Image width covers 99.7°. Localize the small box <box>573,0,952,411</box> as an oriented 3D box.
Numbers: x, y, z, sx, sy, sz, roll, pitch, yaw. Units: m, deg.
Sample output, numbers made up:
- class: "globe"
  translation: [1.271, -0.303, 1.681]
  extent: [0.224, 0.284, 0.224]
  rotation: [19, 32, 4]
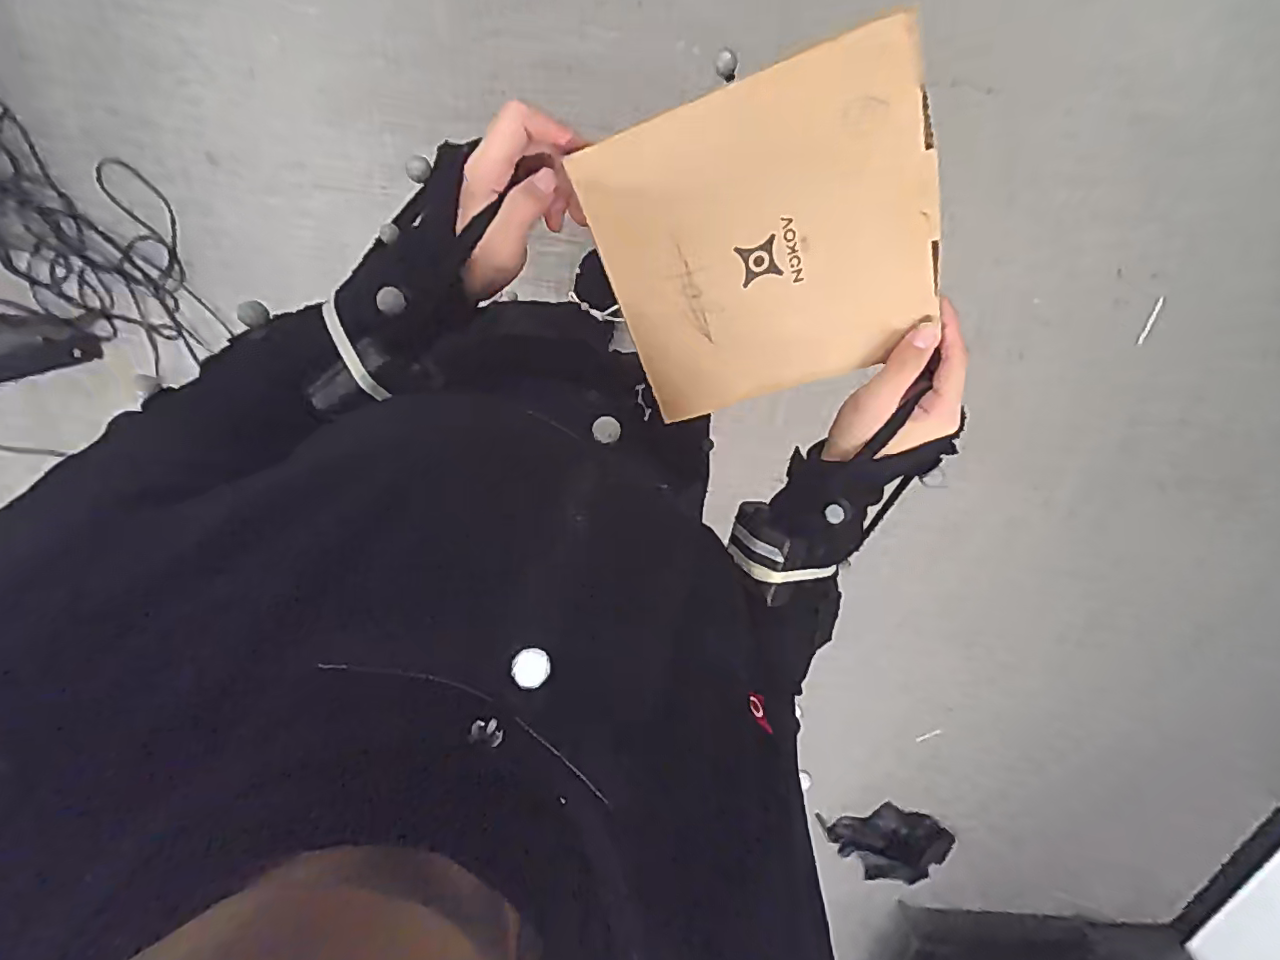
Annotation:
- class: "small box"
  translation: [0.078, -0.176, 0.362]
  extent: [0.179, 0.176, 0.168]
  rotation: [-16, 121, 16]
